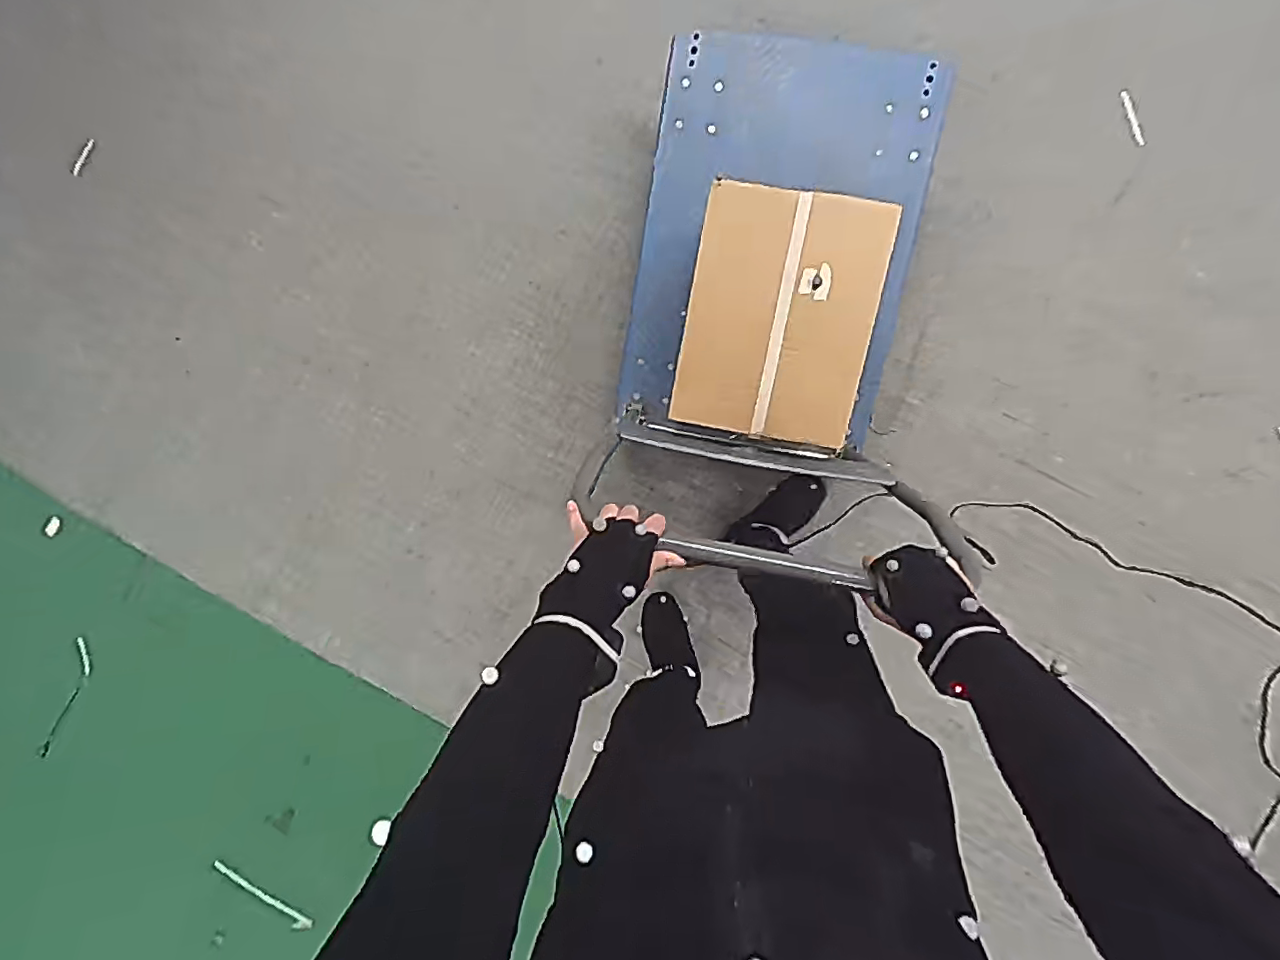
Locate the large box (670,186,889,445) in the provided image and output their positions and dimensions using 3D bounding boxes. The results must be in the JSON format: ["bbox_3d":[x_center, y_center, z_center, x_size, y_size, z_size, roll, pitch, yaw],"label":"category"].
[{"bbox_3d":[0.245,-0.299,1.069,0.320,0.320,0.408,9,101,4],"label":"large box"}]
